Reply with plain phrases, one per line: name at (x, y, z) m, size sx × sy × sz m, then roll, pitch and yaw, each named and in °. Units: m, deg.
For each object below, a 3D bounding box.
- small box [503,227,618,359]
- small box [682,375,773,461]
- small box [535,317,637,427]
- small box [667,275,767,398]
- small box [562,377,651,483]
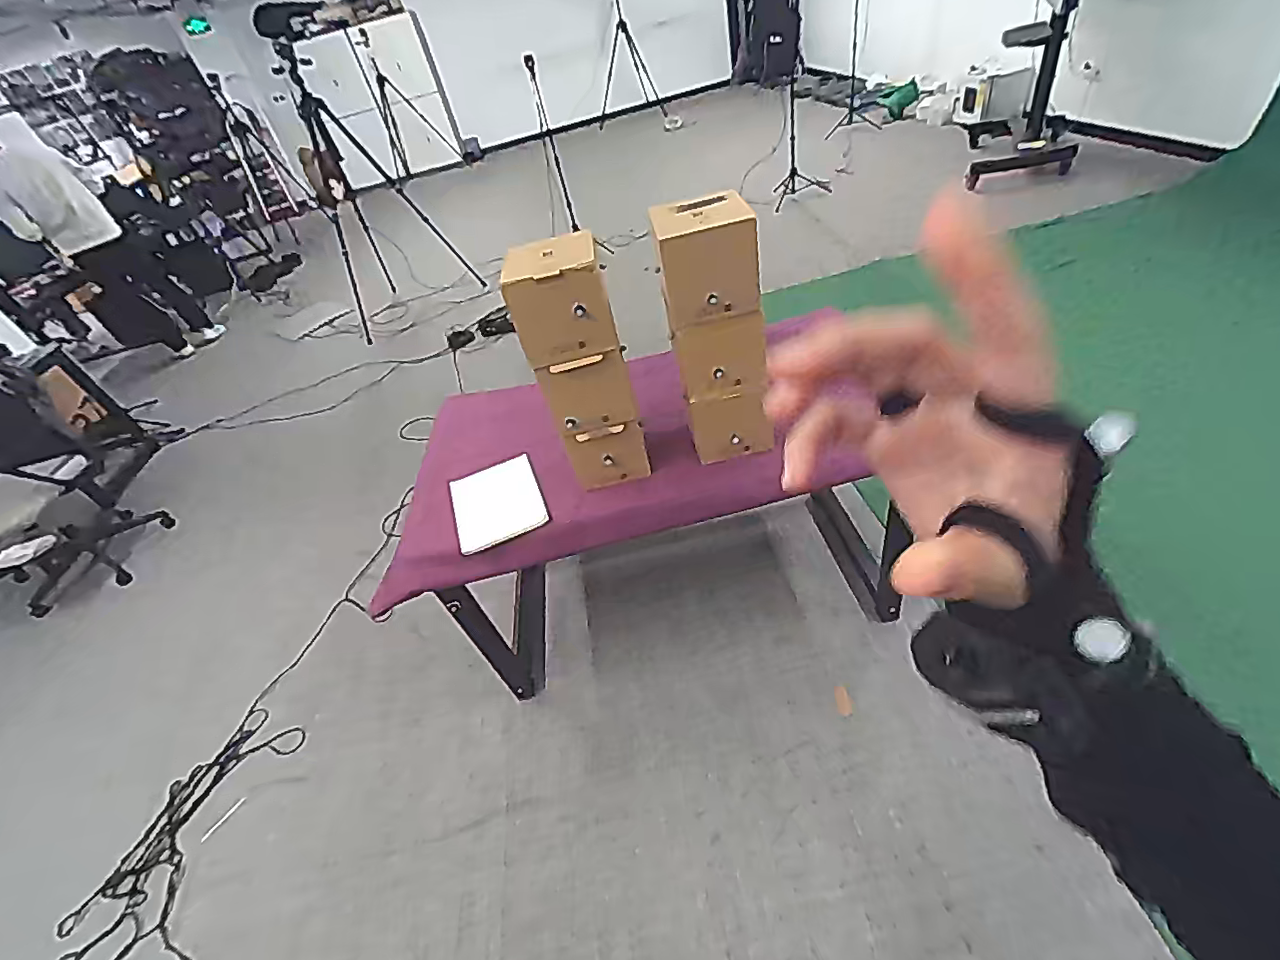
small box at (-0.140, -0.339, 1.004) m, size 0.168 × 0.176 × 0.179 m, roll -12°, pitch 41°, yaw 4°
small box at (0.193, -0.171, 1.211) m, size 0.168 × 0.176 × 0.179 m, roll -14°, pitch 41°, yaw 4°
small box at (-0.108, -0.225, 1.116) m, size 0.168 × 0.176 × 0.179 m, roll -13°, pitch 41°, yaw 3°
small box at (0.157, -0.293, 1.109) m, size 0.168 × 0.176 × 0.179 m, roll -13°, pitch 41°, yaw 3°
small box at (-0.075, -0.111, 1.231) m, size 0.168 × 0.176 × 0.179 m, roll -13°, pitch 43°, yaw 3°
